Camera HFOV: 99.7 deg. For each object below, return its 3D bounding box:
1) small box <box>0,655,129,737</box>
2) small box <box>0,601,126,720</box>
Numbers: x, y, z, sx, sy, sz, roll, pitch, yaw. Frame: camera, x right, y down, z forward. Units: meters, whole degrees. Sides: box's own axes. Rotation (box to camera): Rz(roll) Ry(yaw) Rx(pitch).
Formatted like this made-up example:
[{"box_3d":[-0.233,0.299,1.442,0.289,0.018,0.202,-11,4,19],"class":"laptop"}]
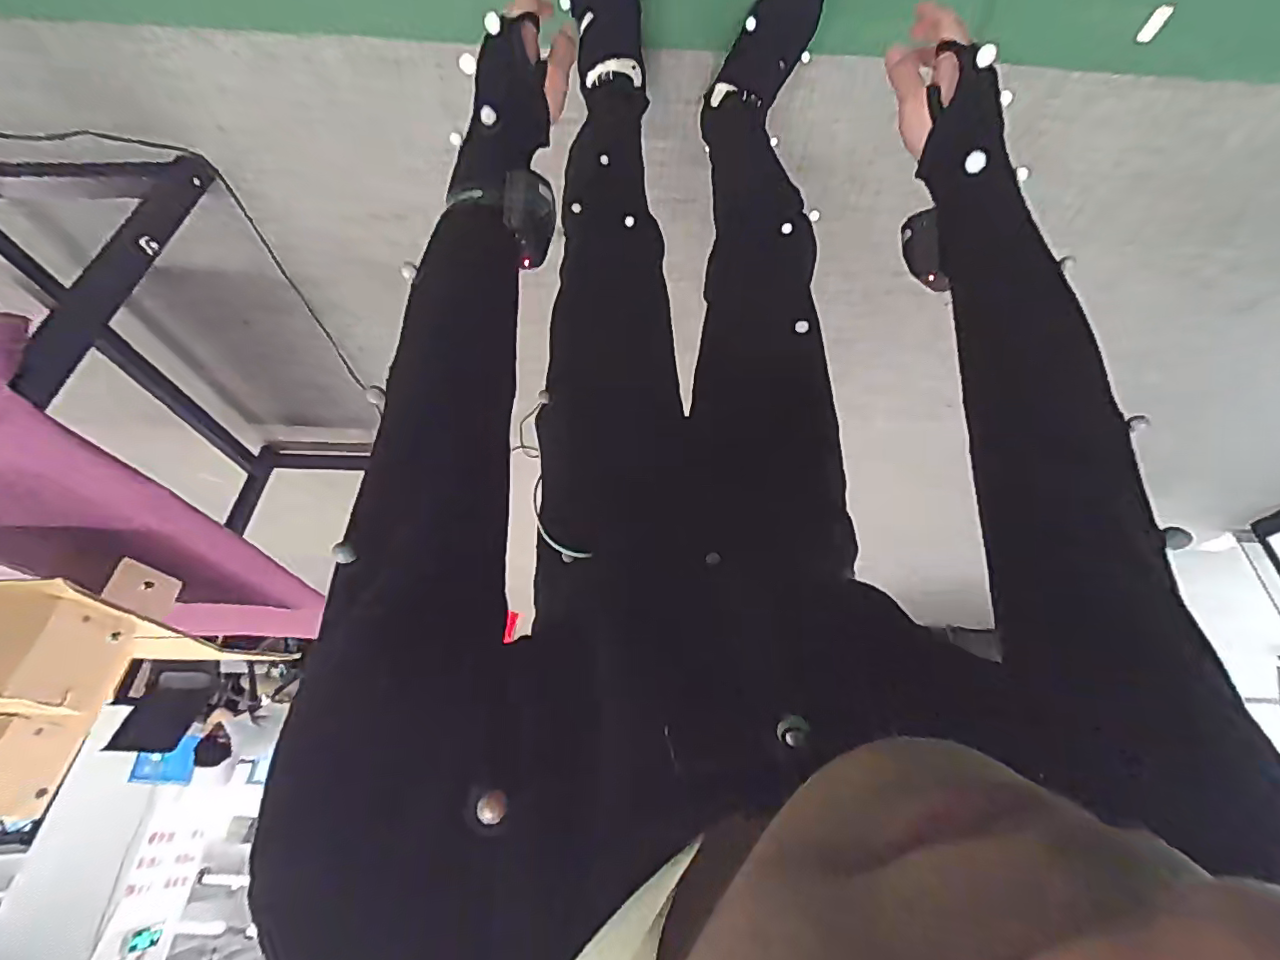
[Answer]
[{"box_3d":[-1.256,0.432,1.137,0.179,0.176,0.168,1,146,1],"class":"small box"},{"box_3d":[-1.080,0.322,0.959,0.179,0.176,0.168,1,147,3],"class":"small box"}]
